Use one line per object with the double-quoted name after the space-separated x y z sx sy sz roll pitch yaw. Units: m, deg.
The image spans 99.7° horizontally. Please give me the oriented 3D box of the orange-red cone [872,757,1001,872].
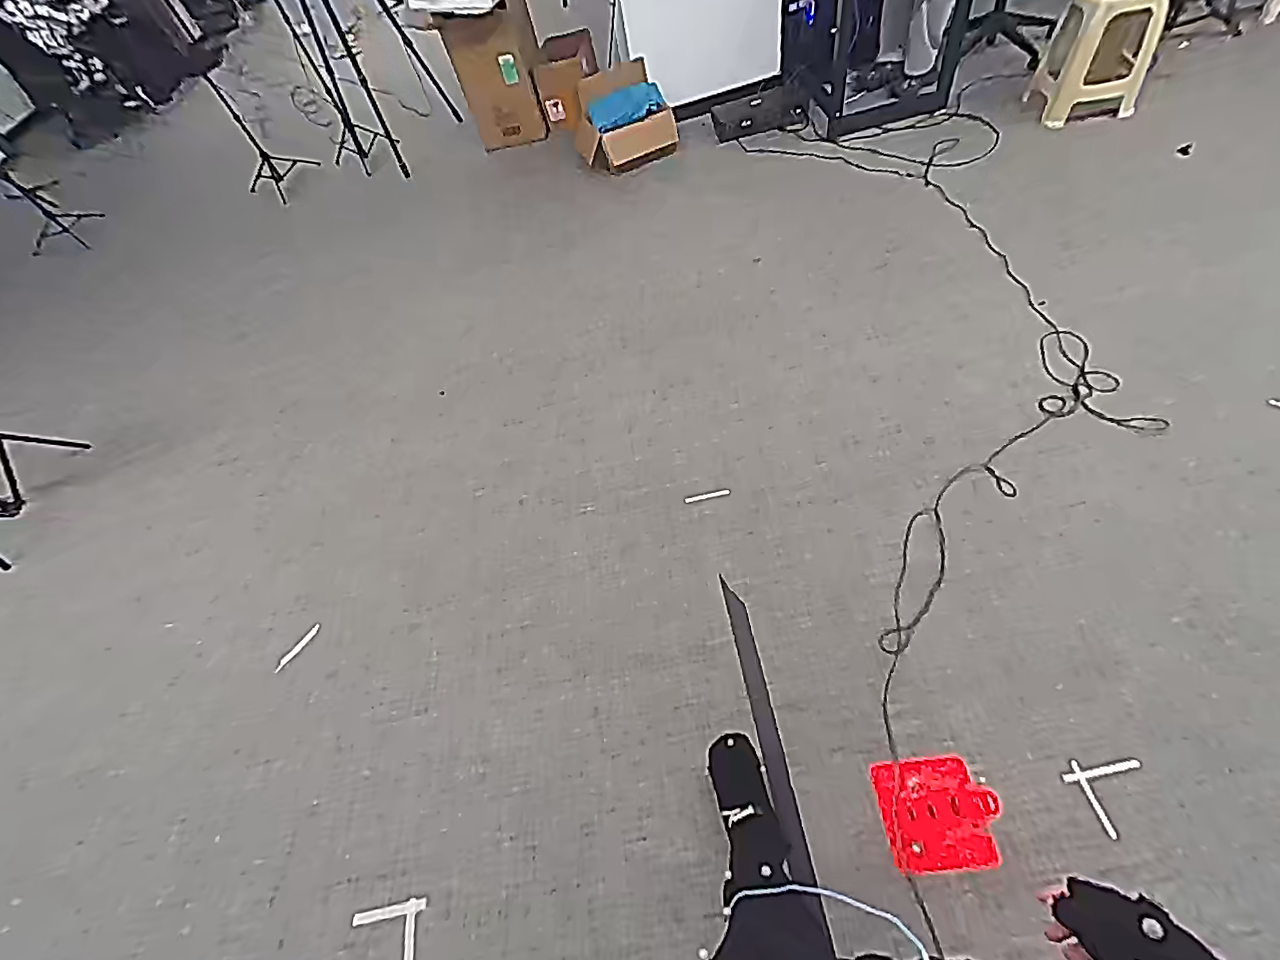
0.568 0.593 0.973 0.199 0.360 0.198 -9 56 6 "orange-red cone"
